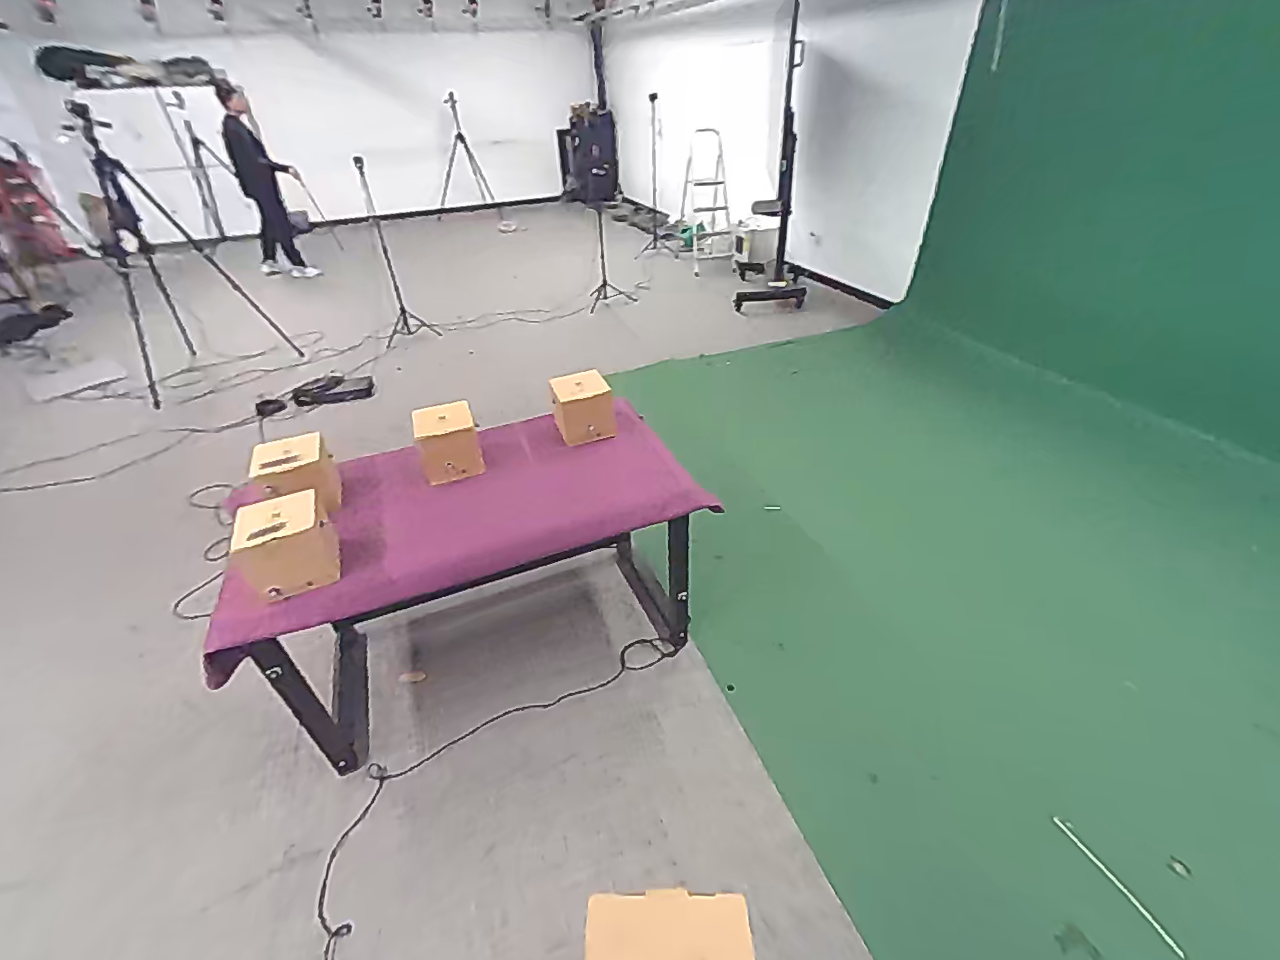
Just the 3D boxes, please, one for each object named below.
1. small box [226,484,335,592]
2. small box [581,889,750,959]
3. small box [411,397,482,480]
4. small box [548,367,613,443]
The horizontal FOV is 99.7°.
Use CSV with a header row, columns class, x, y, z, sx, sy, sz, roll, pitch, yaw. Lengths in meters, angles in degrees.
class,x,y,z,sx,sy,sz,roll,pitch,yaw
small box,-0.833,0.140,1.270,0.168,0.176,0.179,-17,37,-21
small box,0.021,0.541,0.525,0.168,0.176,0.179,1,27,-1
small box,-0.582,-0.126,1.628,0.168,0.176,0.179,-14,39,-17
small box,-0.193,-0.245,1.765,0.168,0.176,0.179,-16,39,-14
